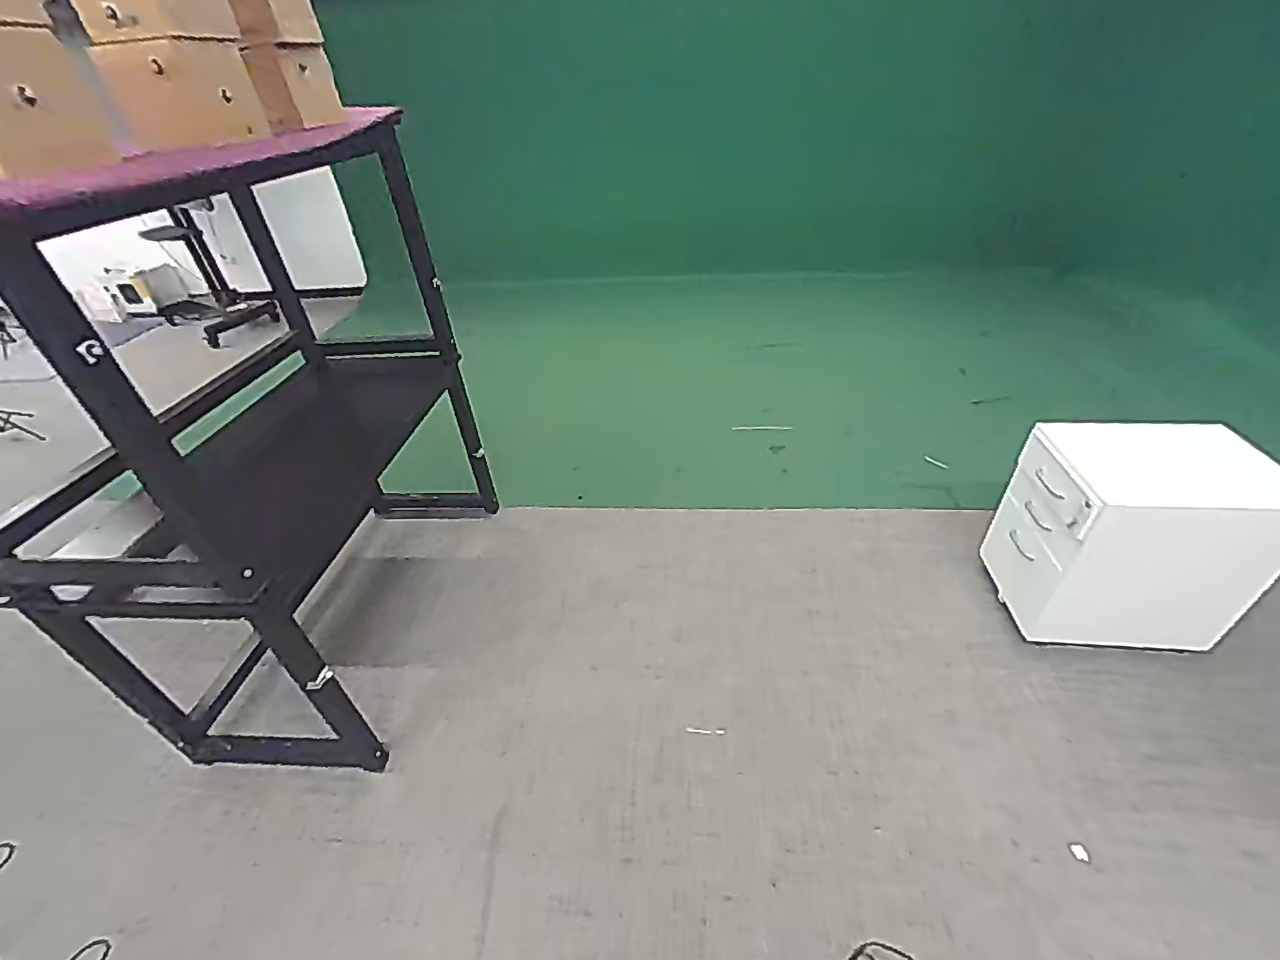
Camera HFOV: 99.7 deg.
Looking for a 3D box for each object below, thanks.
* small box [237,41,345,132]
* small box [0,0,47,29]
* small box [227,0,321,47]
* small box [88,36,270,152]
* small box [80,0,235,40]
[{"bbox_3d":[-0.877,-0.974,1.343,0.168,0.176,0.179,2,38,11],"label":"small box"},{"bbox_3d":[-0.897,-0.641,0.637,0.168,0.176,0.179,2,38,7],"label":"small box"},{"bbox_3d":[-0.877,-1.100,1.239,0.168,0.176,0.179,0,38,8],"label":"small box"},{"bbox_3d":[-0.879,-0.752,1.055,0.179,0.176,0.168,1,37,8],"label":"small box"},{"bbox_3d":[-0.876,-0.888,0.964,0.168,0.176,0.179,1,38,8],"label":"small box"}]
